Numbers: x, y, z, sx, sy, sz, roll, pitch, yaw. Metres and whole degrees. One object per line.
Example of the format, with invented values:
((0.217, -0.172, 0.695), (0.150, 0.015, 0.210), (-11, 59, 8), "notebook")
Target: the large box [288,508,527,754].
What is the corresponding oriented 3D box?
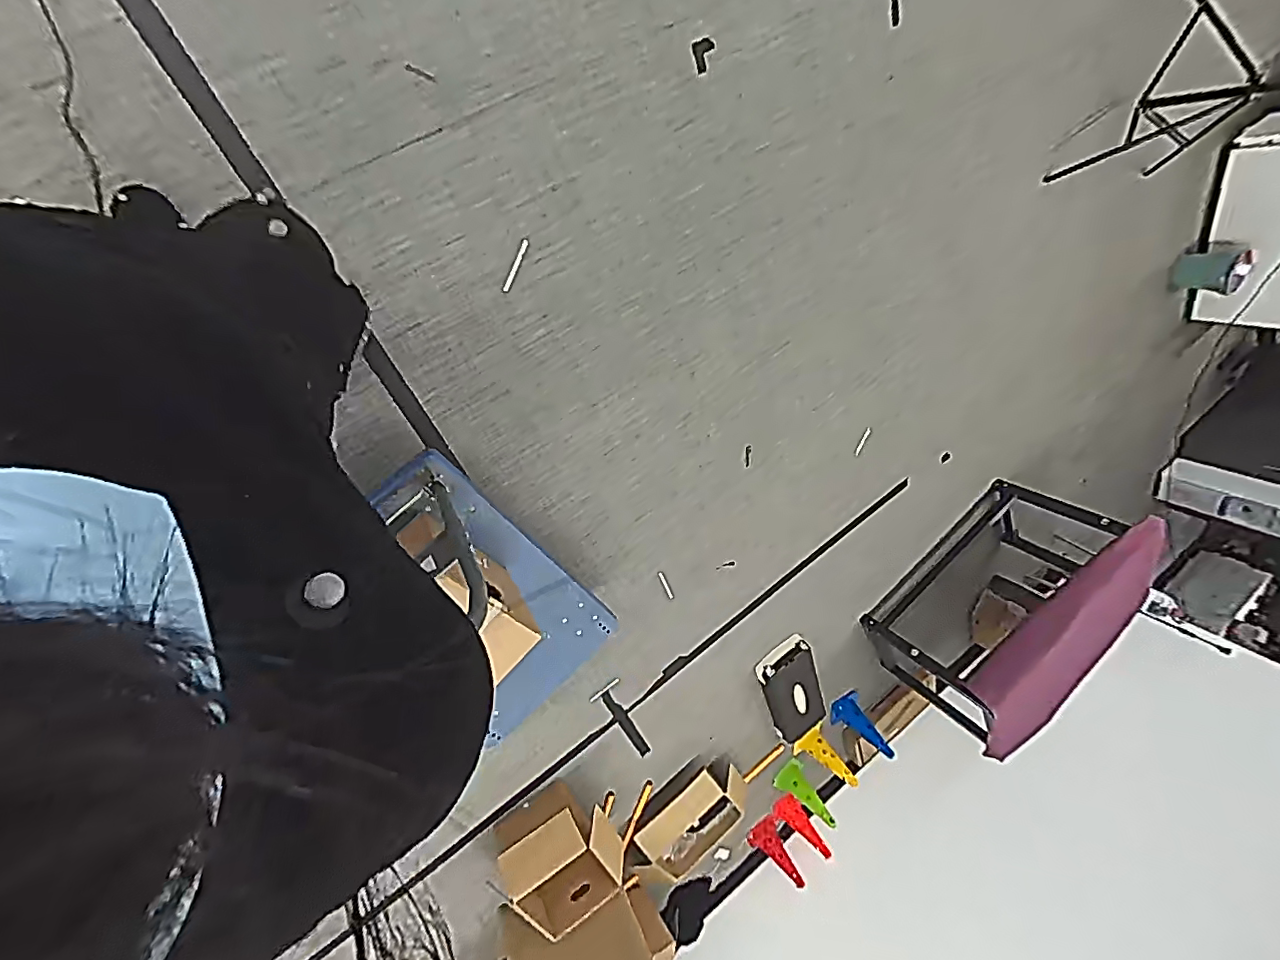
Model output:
((-0.548, 0.346, 1.284), (0.408, 0.320, 0.320), (-46, 126, -4), "large box")
